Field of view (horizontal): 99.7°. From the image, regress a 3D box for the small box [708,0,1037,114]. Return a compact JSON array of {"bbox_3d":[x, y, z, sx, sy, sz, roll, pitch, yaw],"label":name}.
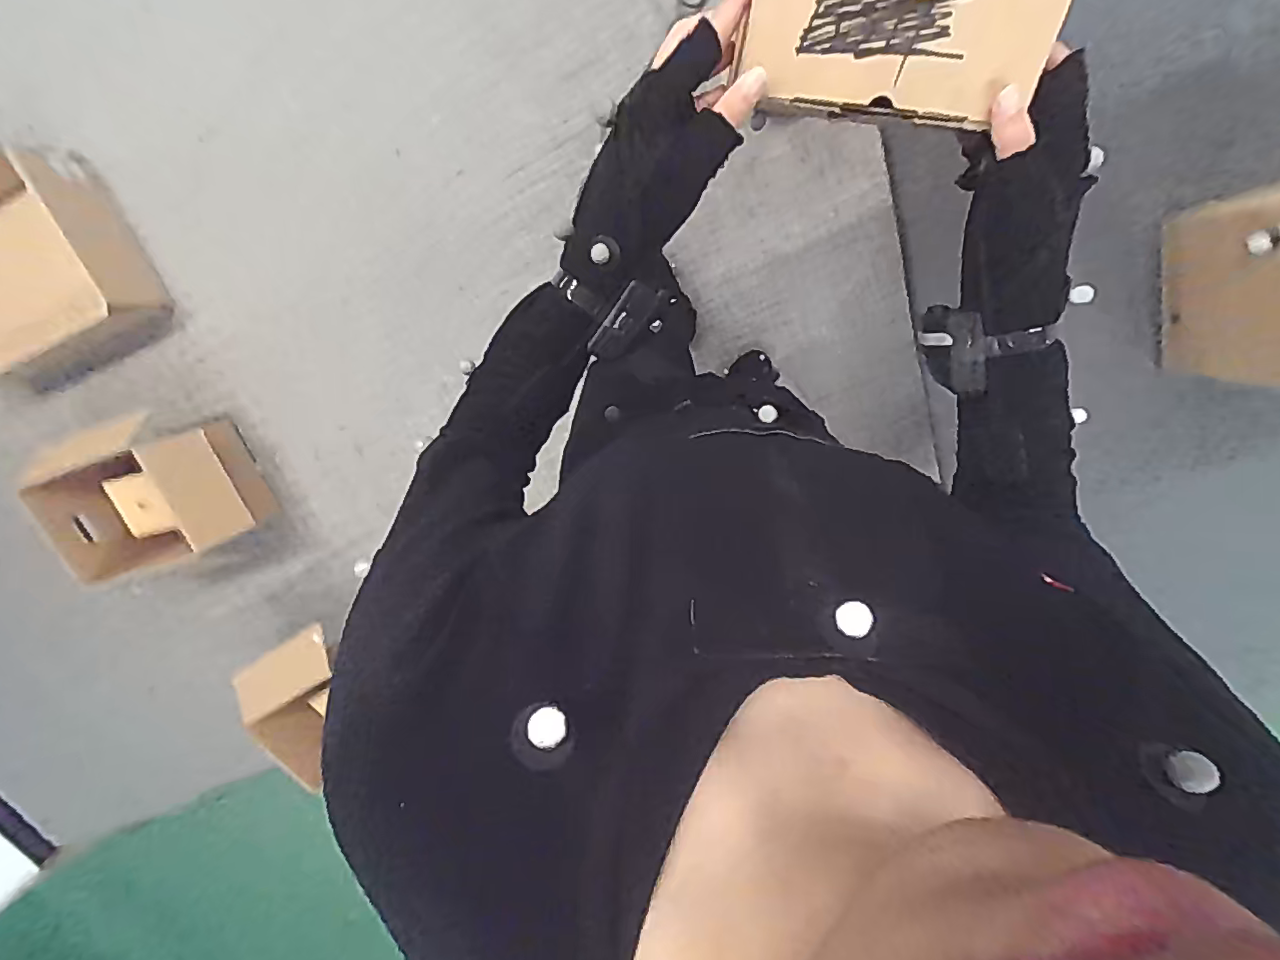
[{"bbox_3d":[0.136,-0.337,0.331,0.168,0.176,0.179,6,123,-1],"label":"small box"}]
